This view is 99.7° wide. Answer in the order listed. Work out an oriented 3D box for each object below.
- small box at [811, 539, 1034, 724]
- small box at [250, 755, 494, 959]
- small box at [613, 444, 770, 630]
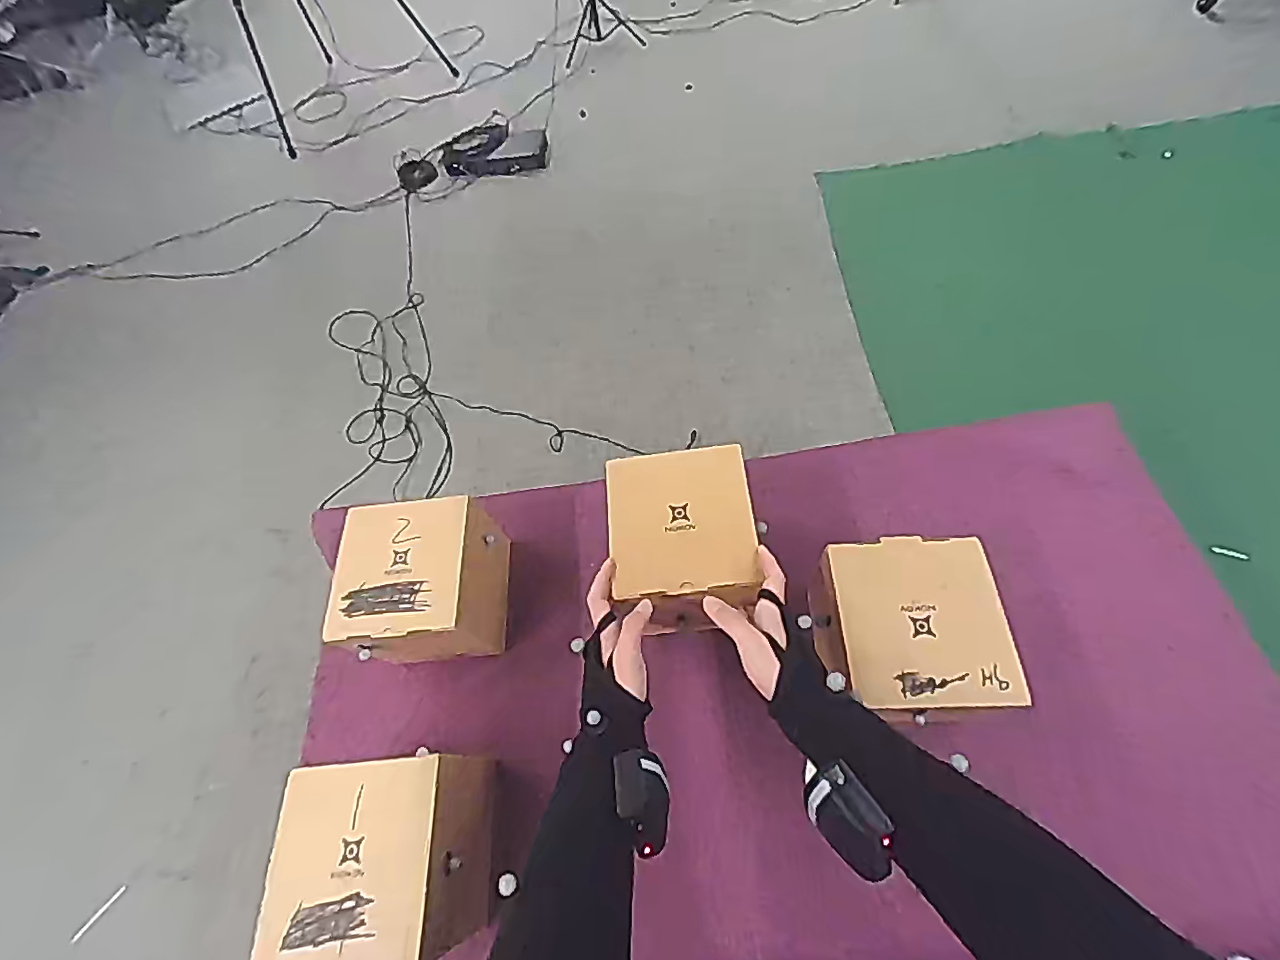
[{"bbox_3d":[0.304,0.182,0.631,0.168,0.176,0.179,-3,61,7],"label":"small box"},{"bbox_3d":[-0.269,0.405,0.589,0.168,0.176,0.179,-7,60,4],"label":"small box"},{"bbox_3d":[0.059,0.078,0.680,0.168,0.176,0.179,-7,62,4],"label":"small box"}]
